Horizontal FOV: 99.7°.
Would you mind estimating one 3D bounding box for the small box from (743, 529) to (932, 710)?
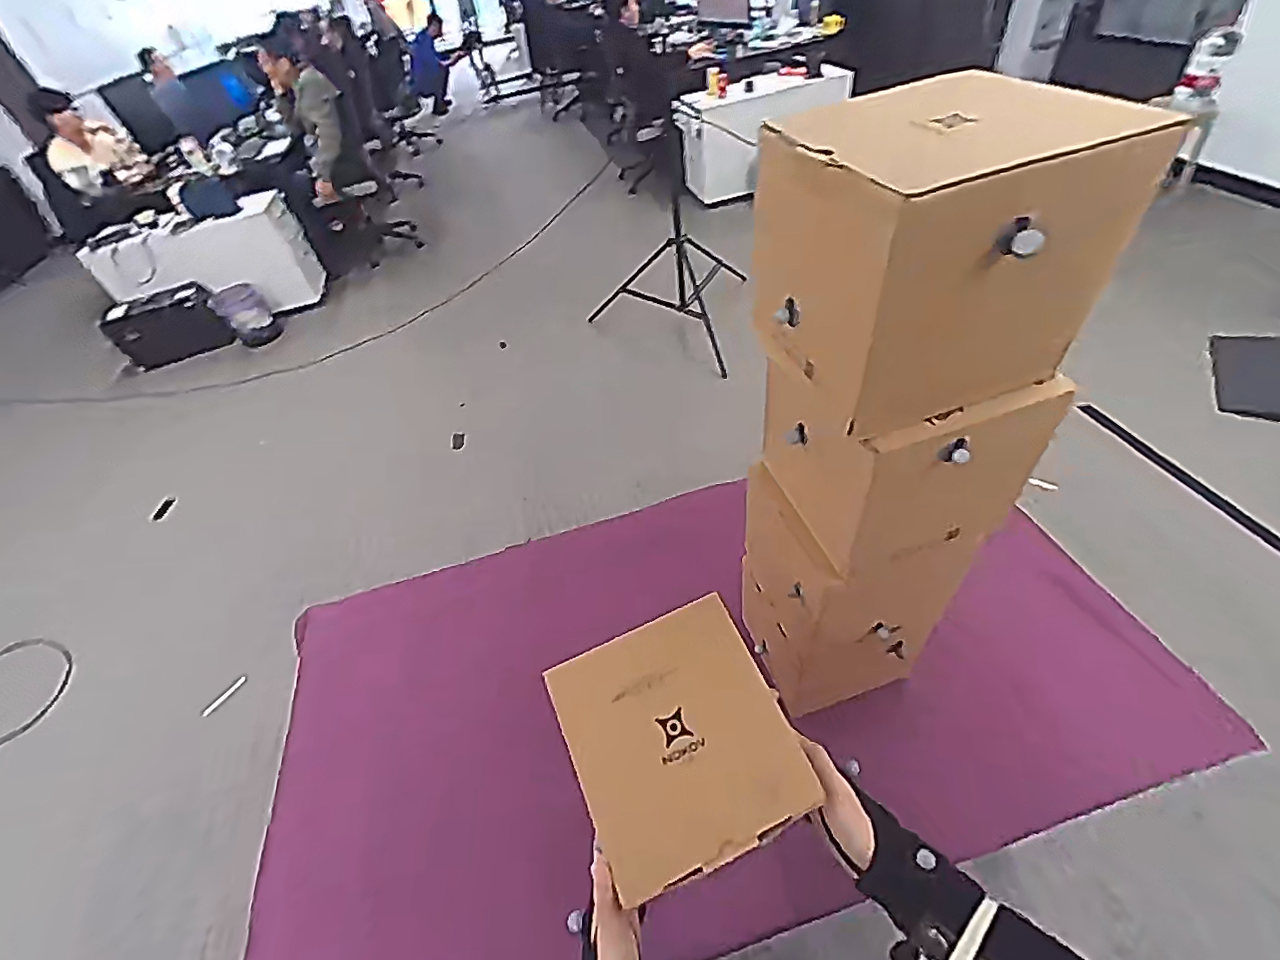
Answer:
[{"bbox_3d":[0.250,0.181,0.734,0.179,0.176,0.168,-18,46,-5],"label":"small box"}]

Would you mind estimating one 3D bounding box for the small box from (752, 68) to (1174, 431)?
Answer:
[{"bbox_3d":[0.192,-0.164,0.389,0.179,0.176,0.168,-18,47,-6],"label":"small box"}]

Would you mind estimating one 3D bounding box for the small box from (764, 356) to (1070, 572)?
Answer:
[{"bbox_3d":[0.223,-0.047,0.499,0.168,0.176,0.179,-18,46,-6],"label":"small box"}]

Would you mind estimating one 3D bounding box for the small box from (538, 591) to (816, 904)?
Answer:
[{"bbox_3d":[0.028,0.233,0.490,0.168,0.176,0.179,-23,60,-10],"label":"small box"}]
